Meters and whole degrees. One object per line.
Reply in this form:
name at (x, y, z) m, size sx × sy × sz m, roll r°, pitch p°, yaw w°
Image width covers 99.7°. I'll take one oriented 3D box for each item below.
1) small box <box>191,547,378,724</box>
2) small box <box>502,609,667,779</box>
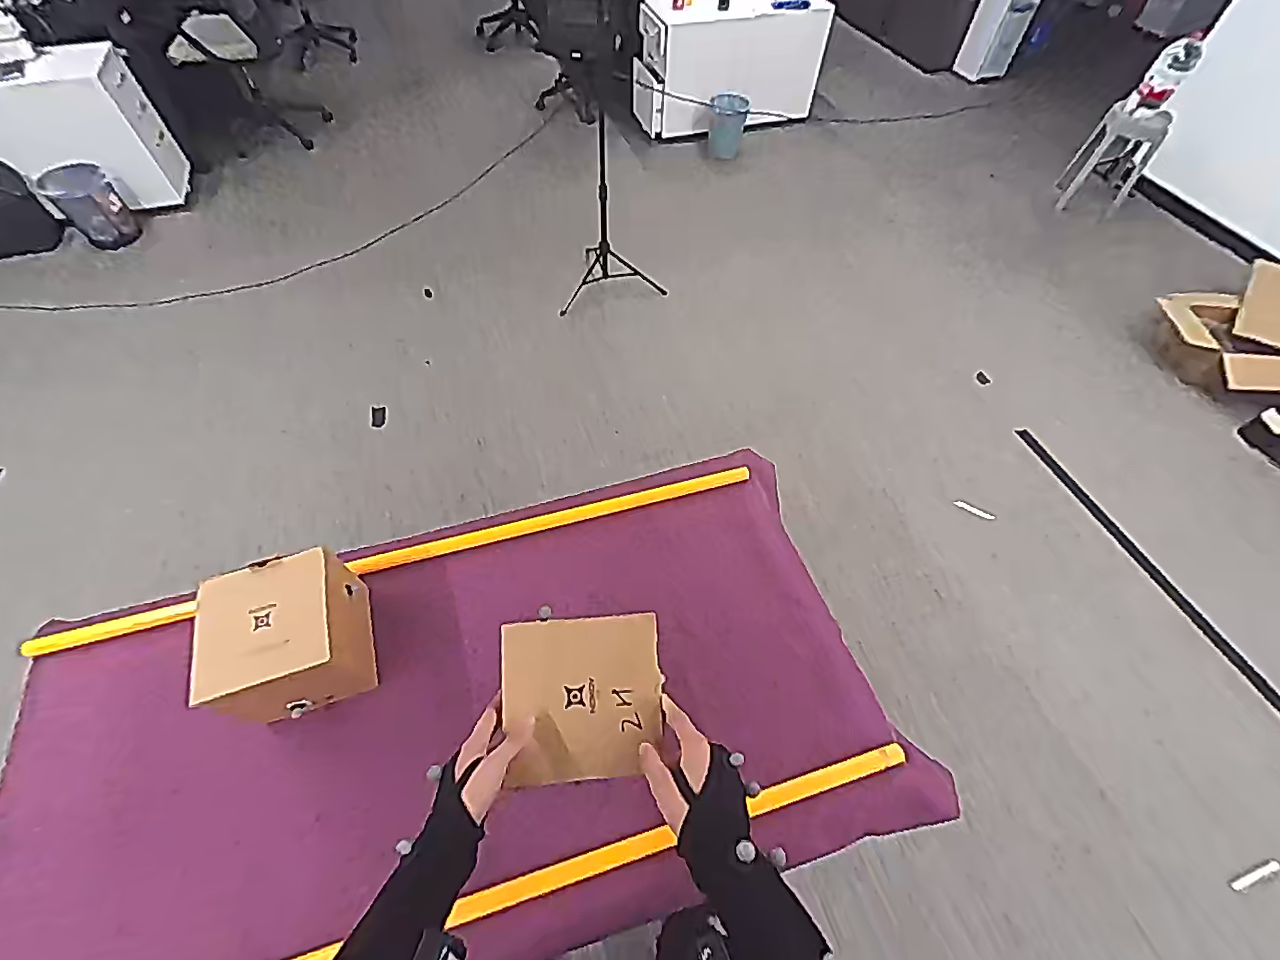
small box at (-0.500, 0.228, 0.785) m, size 0.168 × 0.176 × 0.179 m, roll -17°, pitch 59°, yaw -12°
small box at (-0.066, 0.252, 0.666) m, size 0.179 × 0.176 × 0.168 m, roll -3°, pitch 75°, yaw -5°
